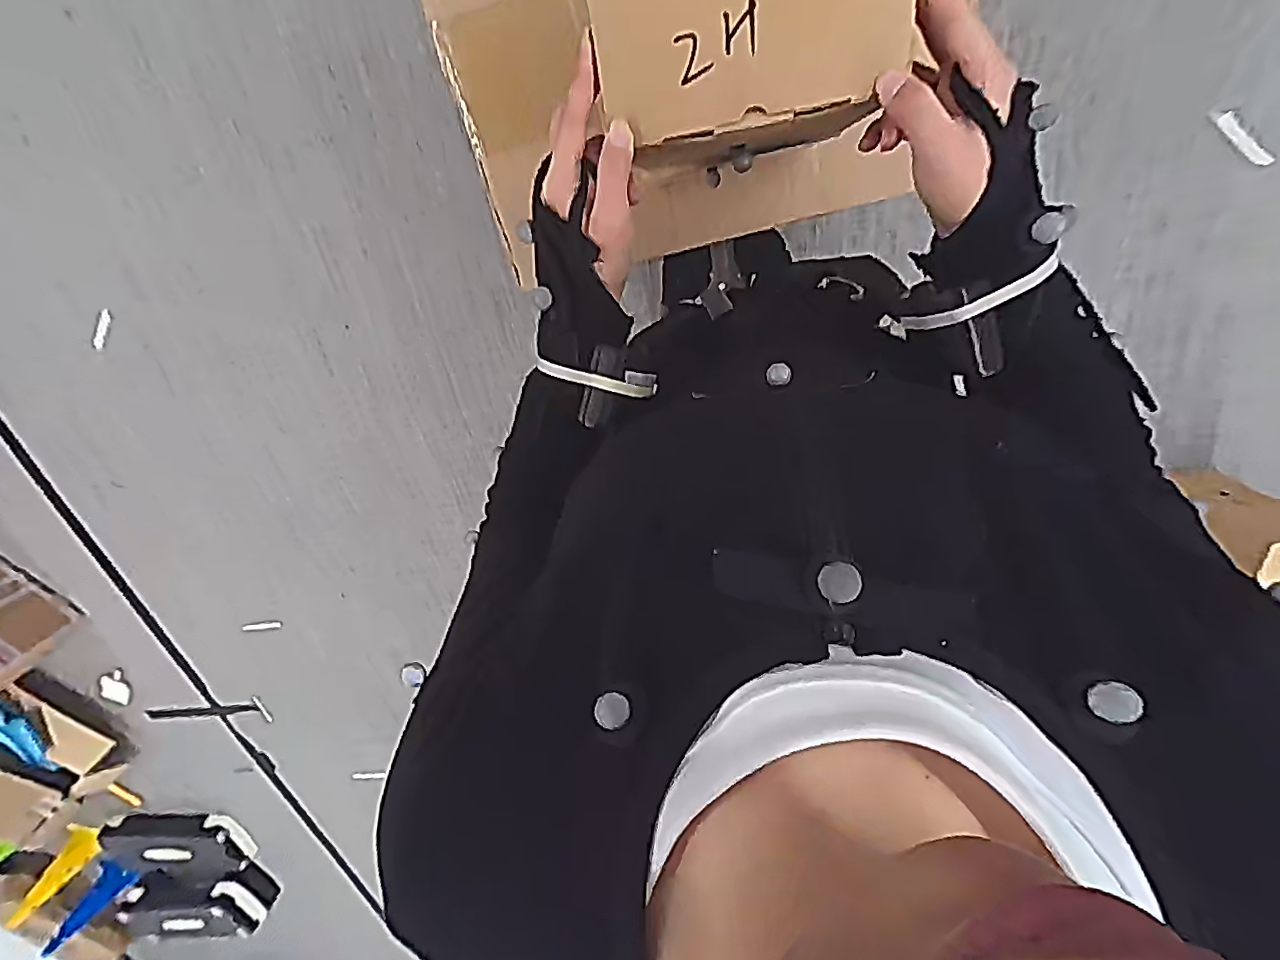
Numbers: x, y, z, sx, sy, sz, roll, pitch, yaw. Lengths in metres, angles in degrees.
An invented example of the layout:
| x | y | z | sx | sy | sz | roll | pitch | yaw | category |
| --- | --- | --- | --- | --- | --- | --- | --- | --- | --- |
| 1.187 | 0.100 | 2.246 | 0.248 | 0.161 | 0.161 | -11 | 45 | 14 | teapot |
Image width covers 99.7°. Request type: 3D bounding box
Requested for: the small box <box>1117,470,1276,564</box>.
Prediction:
| x | y | z | sx | sy | sz | roll | pitch | yaw | category |
| --- | --- | --- | --- | --- | --- | --- | --- | --- | --- |
| 1.308 | 0.083 | 1.286 | 0.179 | 0.176 | 0.168 | -1 | 116 | 8 | small box |

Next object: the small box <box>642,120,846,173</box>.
| x | y | z | sx | sy | sz | roll | pitch | yaw | category |
| --- | --- | --- | --- | --- | --- | --- | --- | --- | --- |
| 0.079 | -0.383 | 0.477 | 0.168 | 0.176 | 0.179 | -8 | 115 | 10 | small box |

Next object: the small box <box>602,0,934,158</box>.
| x | y | z | sx | sy | sz | roll | pitch | yaw | category |
| --- | --- | --- | --- | --- | --- | --- | --- | --- | --- |
| 0.064 | -0.315 | 0.326 | 0.168 | 0.176 | 0.179 | -5 | 115 | 10 | small box |
